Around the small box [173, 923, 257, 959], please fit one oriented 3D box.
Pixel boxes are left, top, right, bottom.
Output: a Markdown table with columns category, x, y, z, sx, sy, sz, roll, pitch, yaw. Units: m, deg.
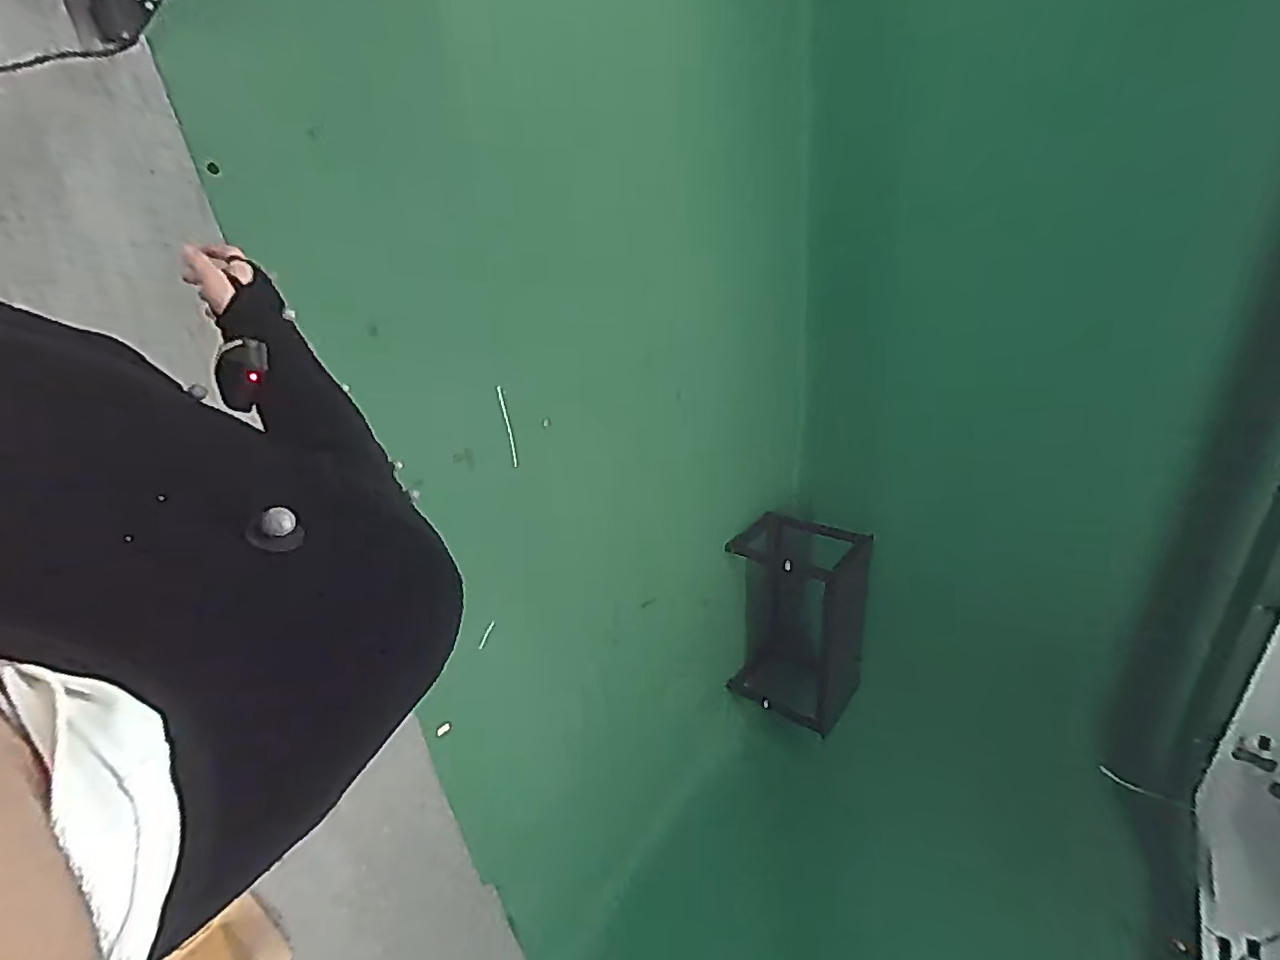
| category | x | y | z | sx | sy | sz | roll | pitch | yaw |
| --- | --- | --- | --- | --- | --- | --- | --- | --- | --- |
| small box | -1.191 | 1.398 | 1.508 | 0.168 | 0.176 | 0.179 | -38 | 129 | -37 |
